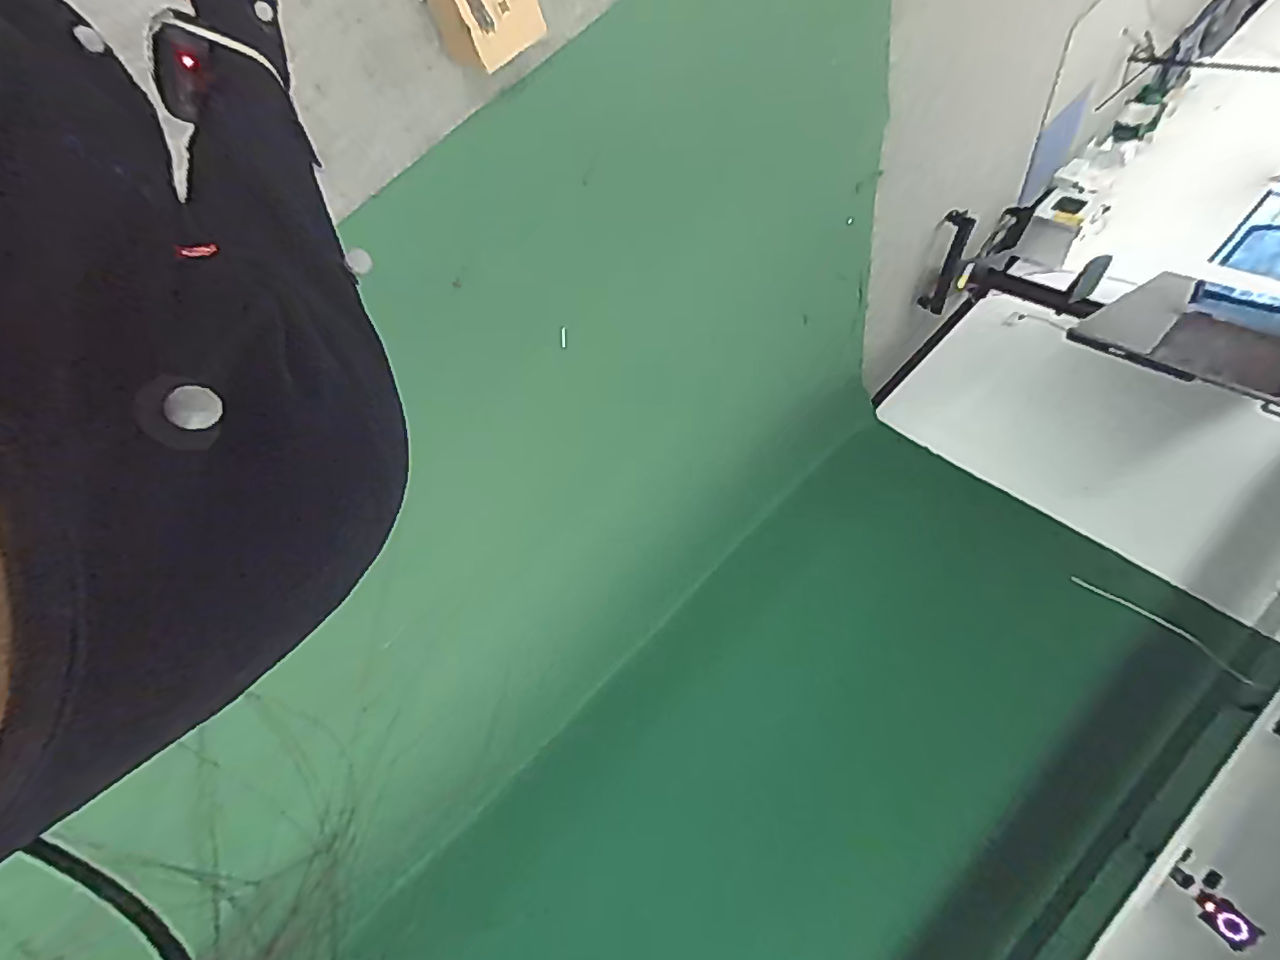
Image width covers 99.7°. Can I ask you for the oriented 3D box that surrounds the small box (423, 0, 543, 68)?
[{"bbox_3d":[-0.343,-1.010,1.137,0.179,0.176,0.168,-44,147,-10],"label":"small box"}]
